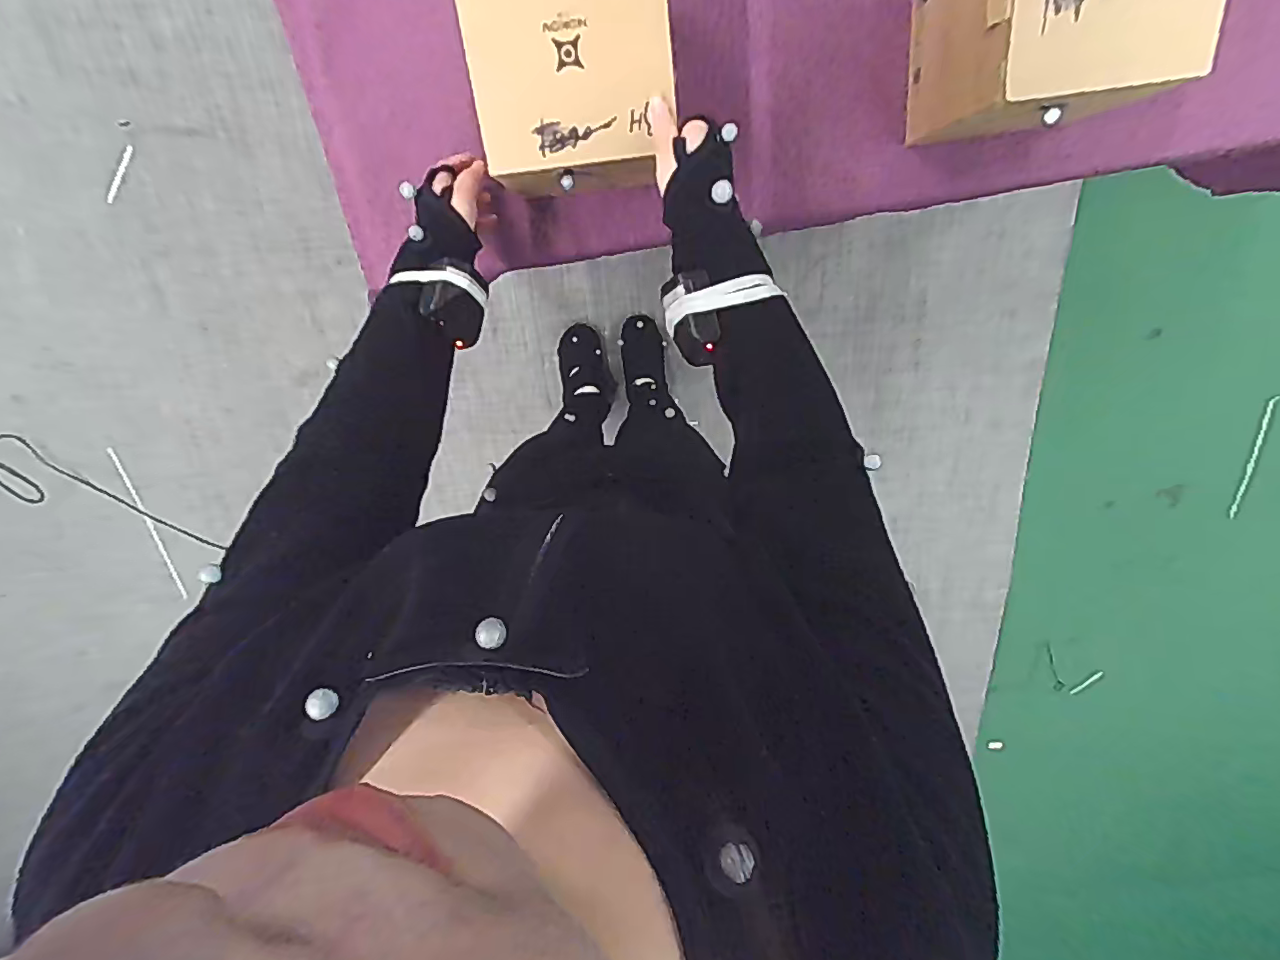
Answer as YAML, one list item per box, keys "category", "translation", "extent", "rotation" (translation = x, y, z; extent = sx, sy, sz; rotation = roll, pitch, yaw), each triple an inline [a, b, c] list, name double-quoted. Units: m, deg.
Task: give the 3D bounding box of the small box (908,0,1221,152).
- category: "small box"
  translation: [0.375, -0.421, 0.502]
  extent: [0.179, 0.176, 0.168]
  rotation: [-7, 112, 0]

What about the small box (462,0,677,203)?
- category: "small box"
  translation: [-0.059, -0.374, 0.509]
  extent: [0.168, 0.176, 0.179]
  rotation: [-5, 111, 1]
